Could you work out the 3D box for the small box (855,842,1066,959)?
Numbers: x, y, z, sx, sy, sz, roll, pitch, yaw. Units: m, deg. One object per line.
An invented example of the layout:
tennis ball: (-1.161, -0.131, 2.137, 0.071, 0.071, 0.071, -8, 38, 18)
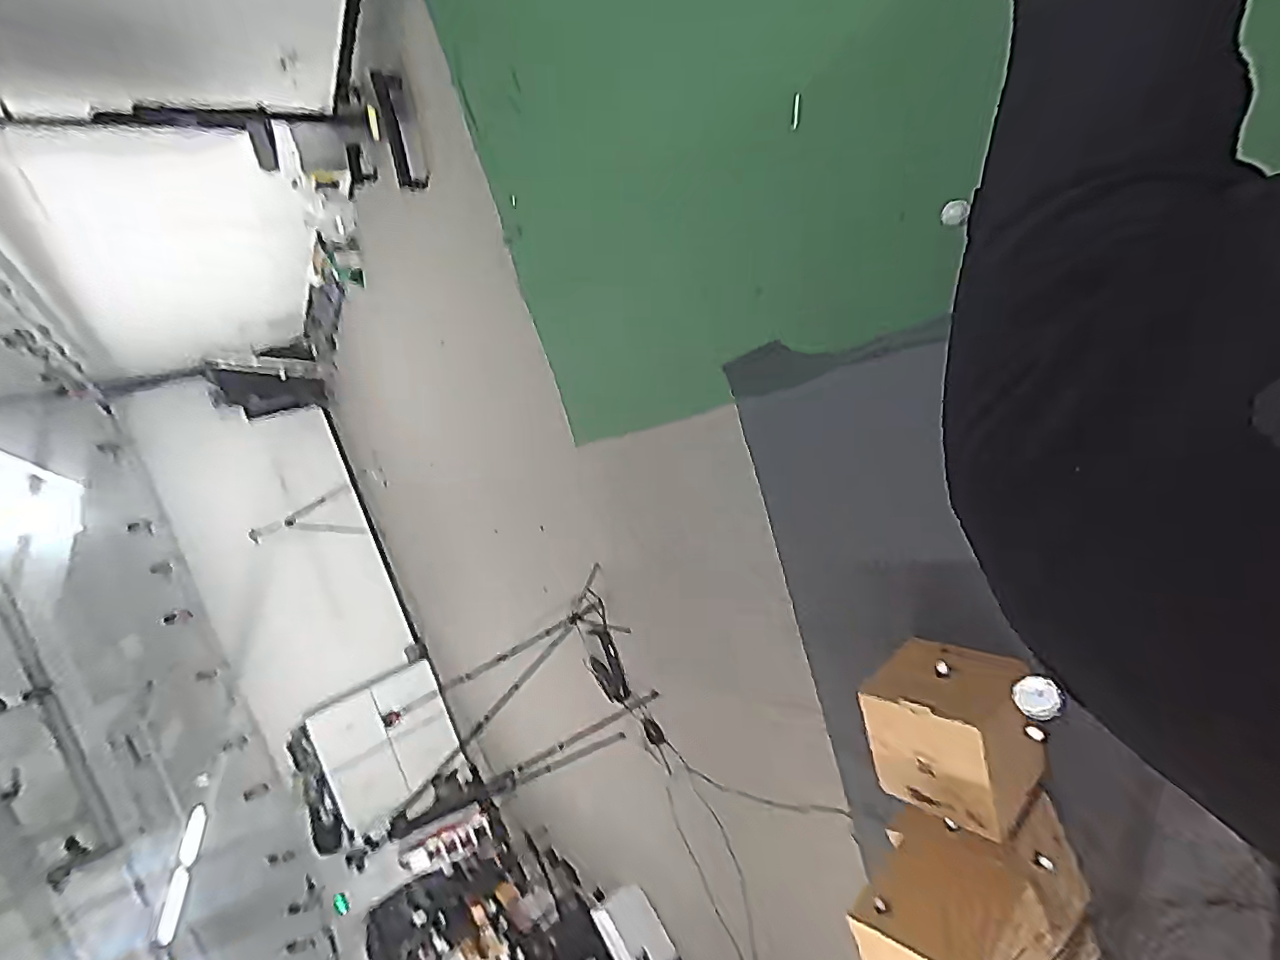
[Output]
small box: (0.422, 0.615, 0.698, 0.179, 0.176, 0.168, -22, 89, 56)
